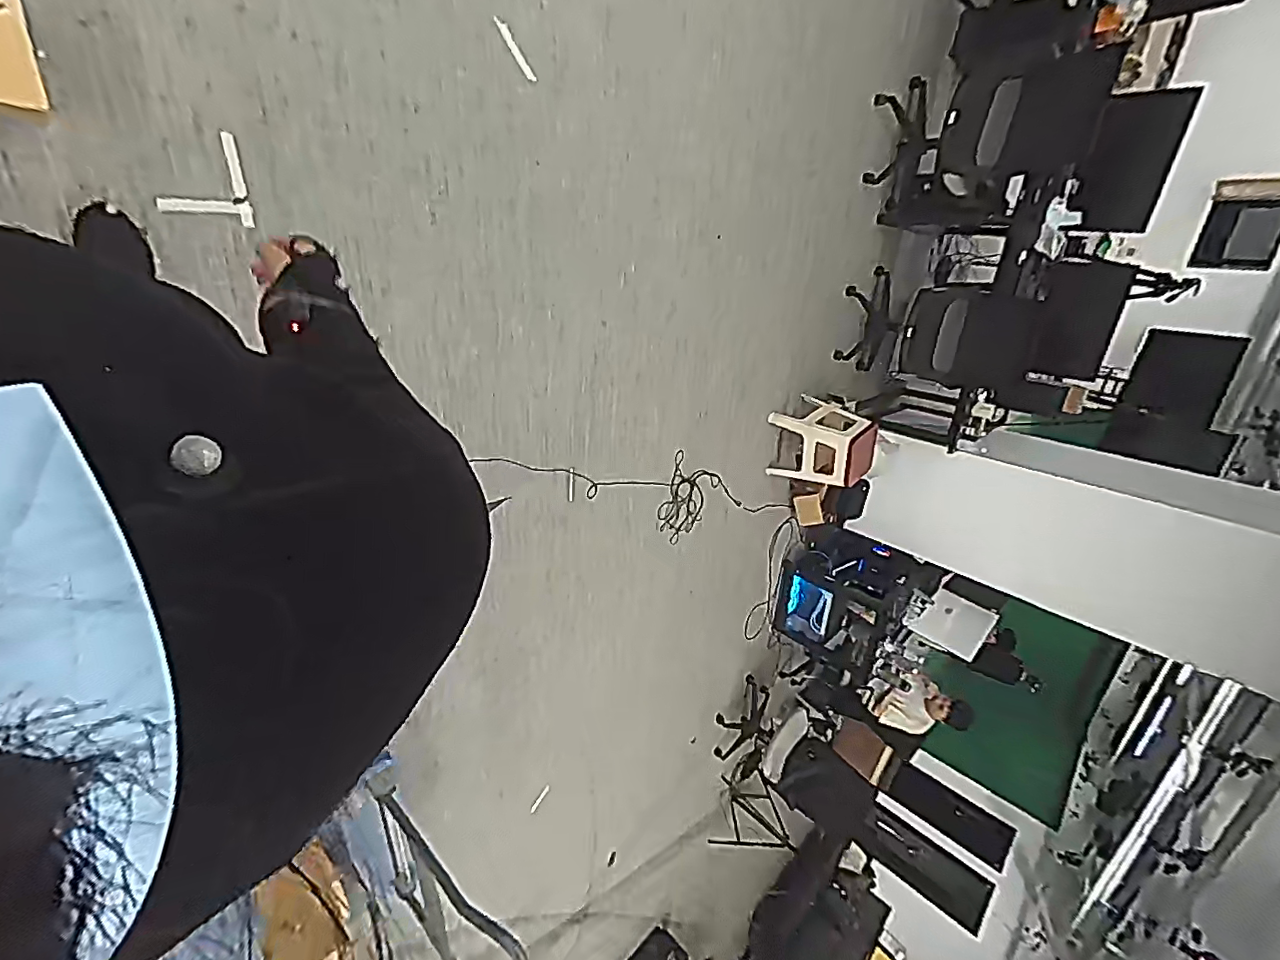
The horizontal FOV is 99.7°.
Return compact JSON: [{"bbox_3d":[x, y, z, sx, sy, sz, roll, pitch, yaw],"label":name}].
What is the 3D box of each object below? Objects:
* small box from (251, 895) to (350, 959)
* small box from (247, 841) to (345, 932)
[{"bbox_3d":[-0.840,1.202,1.354,0.168,0.176,0.179,-23,124,-40],"label":"small box"},{"bbox_3d":[-0.938,1.144,1.475,0.168,0.176,0.179,-24,124,-39],"label":"small box"}]
